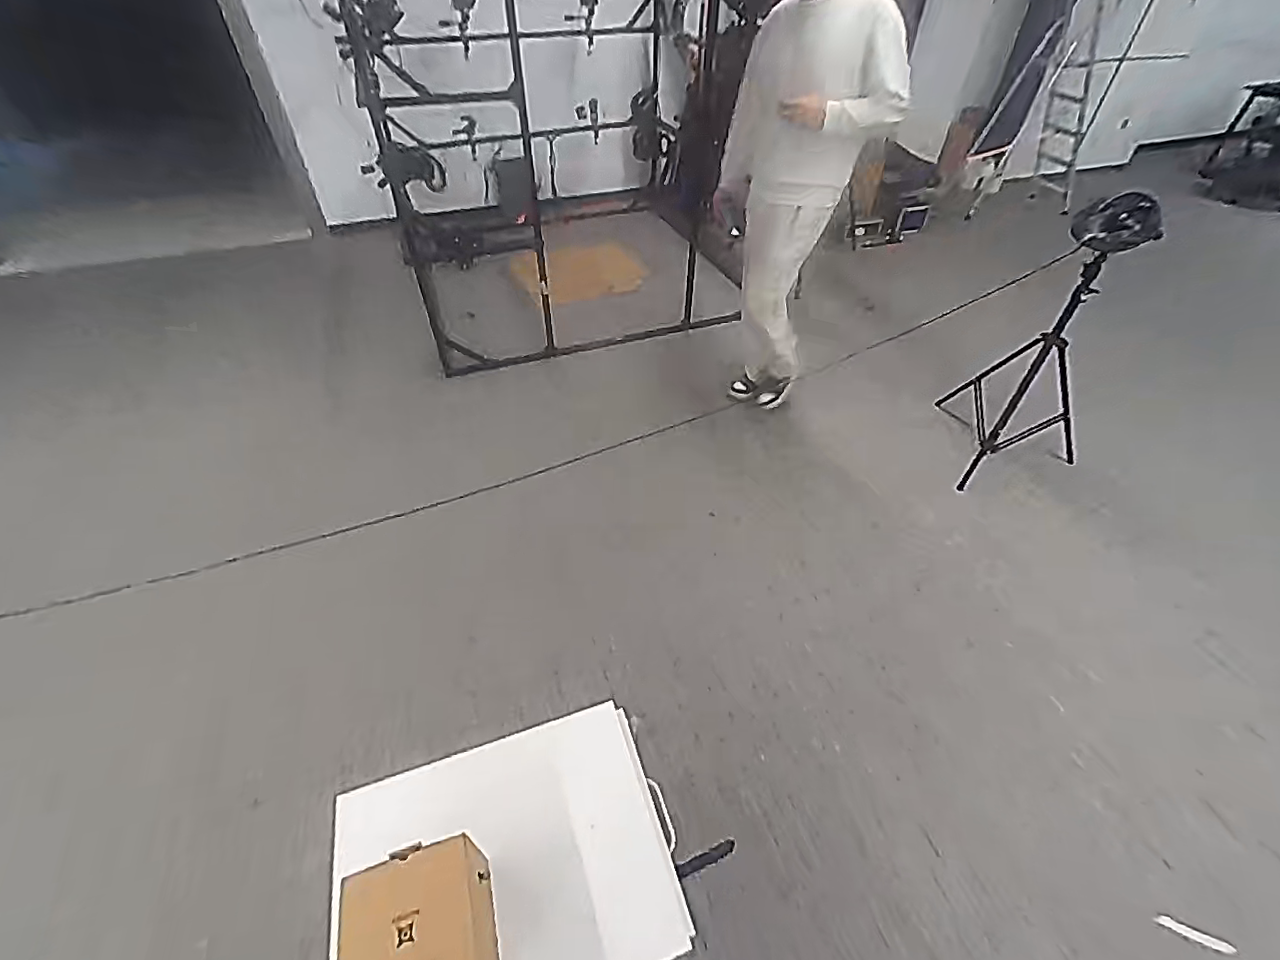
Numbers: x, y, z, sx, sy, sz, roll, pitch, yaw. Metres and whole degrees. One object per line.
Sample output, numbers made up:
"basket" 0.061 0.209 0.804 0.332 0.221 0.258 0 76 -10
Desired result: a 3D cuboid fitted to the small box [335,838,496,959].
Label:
"small box" -0.297 0.633 0.736 0.168 0.176 0.179 -13 45 -13
